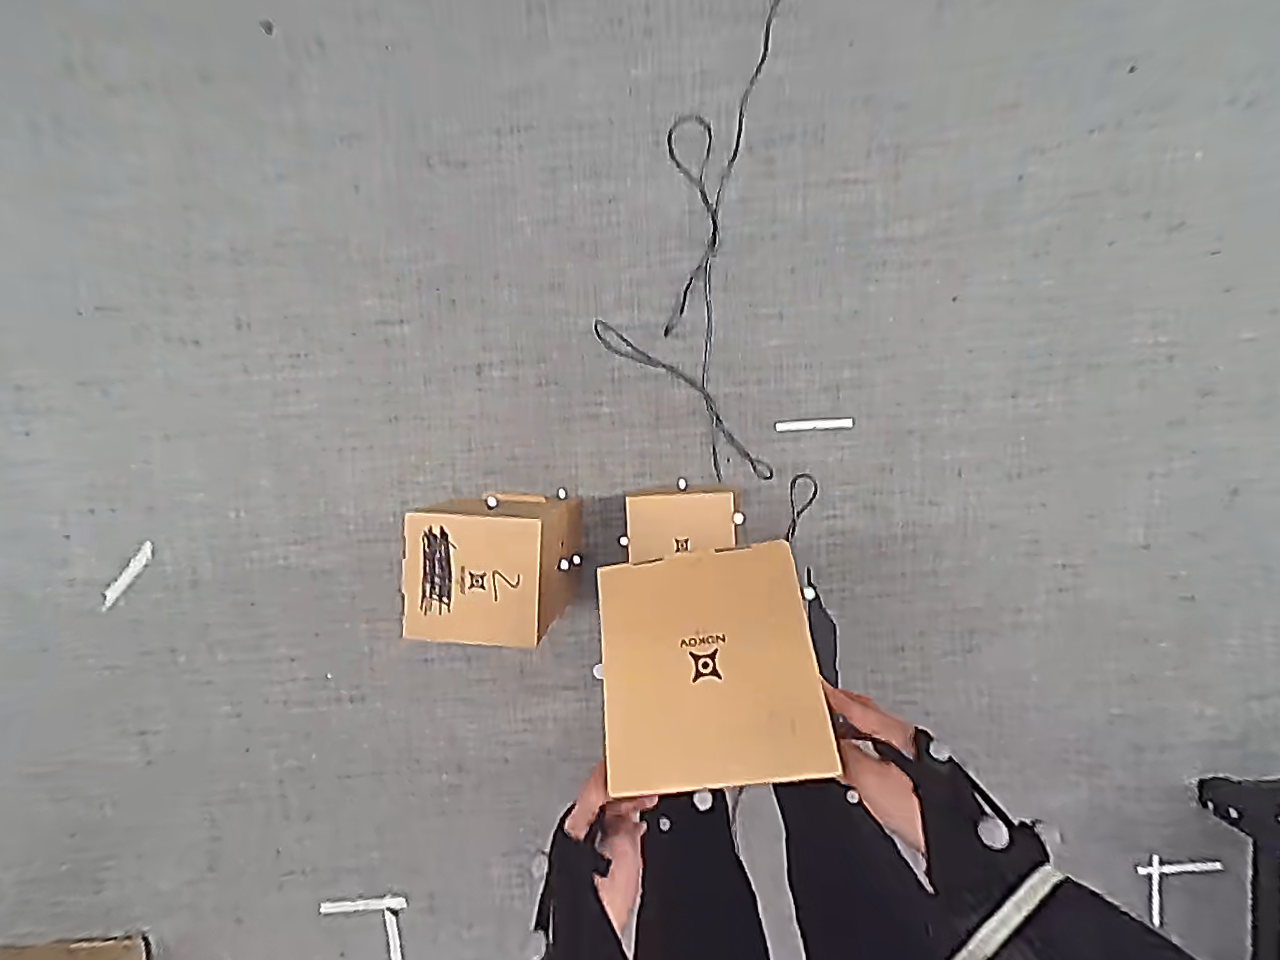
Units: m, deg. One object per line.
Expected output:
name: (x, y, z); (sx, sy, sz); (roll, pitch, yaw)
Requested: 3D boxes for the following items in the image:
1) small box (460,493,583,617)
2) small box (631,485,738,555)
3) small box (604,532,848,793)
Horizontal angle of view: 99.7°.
small box: (-0.192, 0.117, 0.919); (0.168, 0.176, 0.179); (4, 95, 3)
small box: (0.072, 0.099, 0.906); (0.168, 0.176, 0.179); (-2, 94, 4)
small box: (0.071, 0.168, 0.476); (0.168, 0.176, 0.179); (-10, 58, 7)
